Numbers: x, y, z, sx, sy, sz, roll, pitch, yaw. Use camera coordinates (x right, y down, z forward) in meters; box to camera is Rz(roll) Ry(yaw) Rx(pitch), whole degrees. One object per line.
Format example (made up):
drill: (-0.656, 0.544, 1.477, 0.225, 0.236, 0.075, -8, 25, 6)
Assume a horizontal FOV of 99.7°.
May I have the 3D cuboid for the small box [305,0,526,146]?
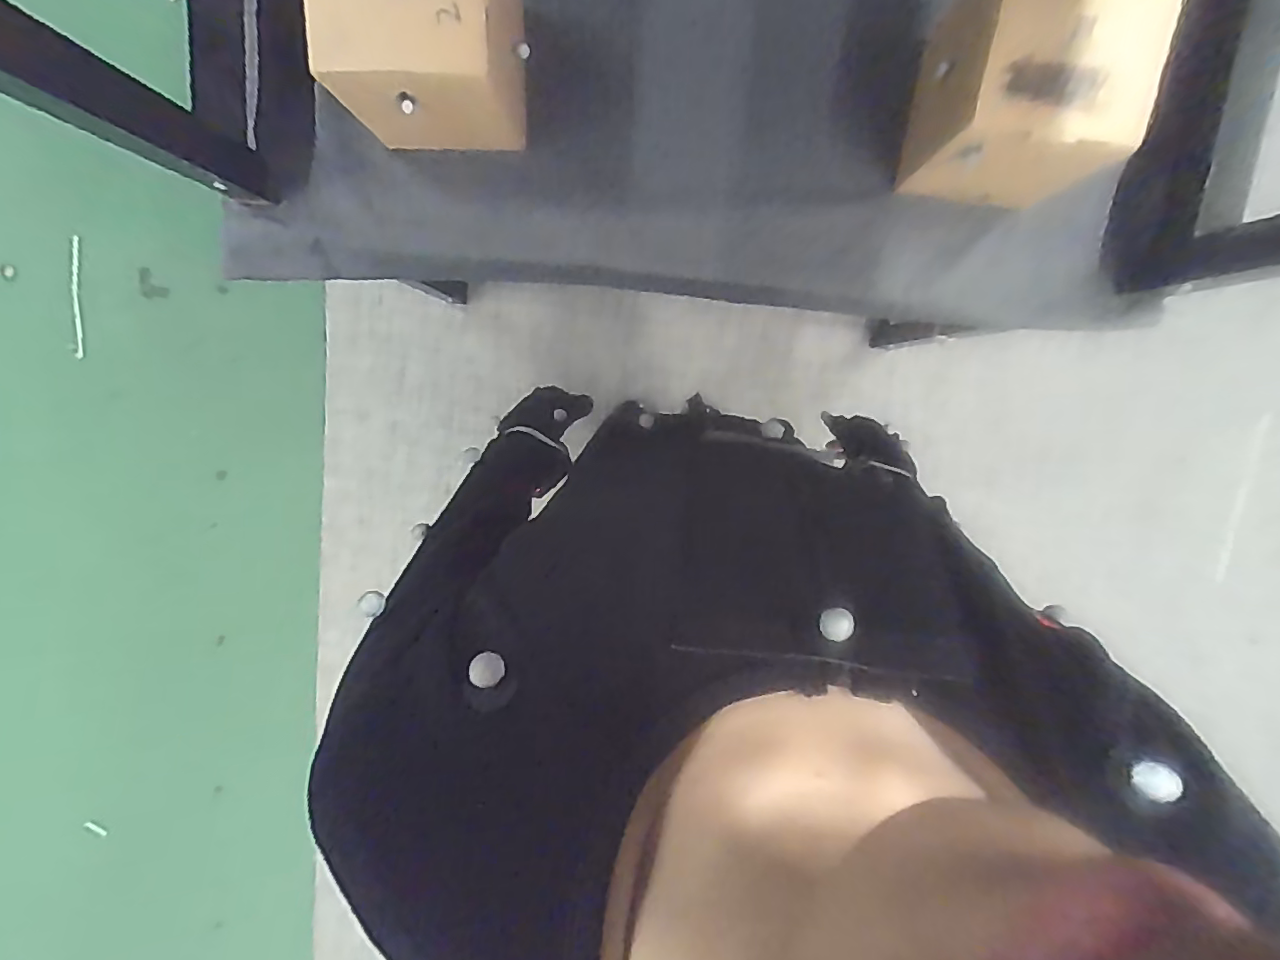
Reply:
small box: (-0.230, -0.486, 0.586, 0.179, 0.176, 0.168, 1, 100, 0)
